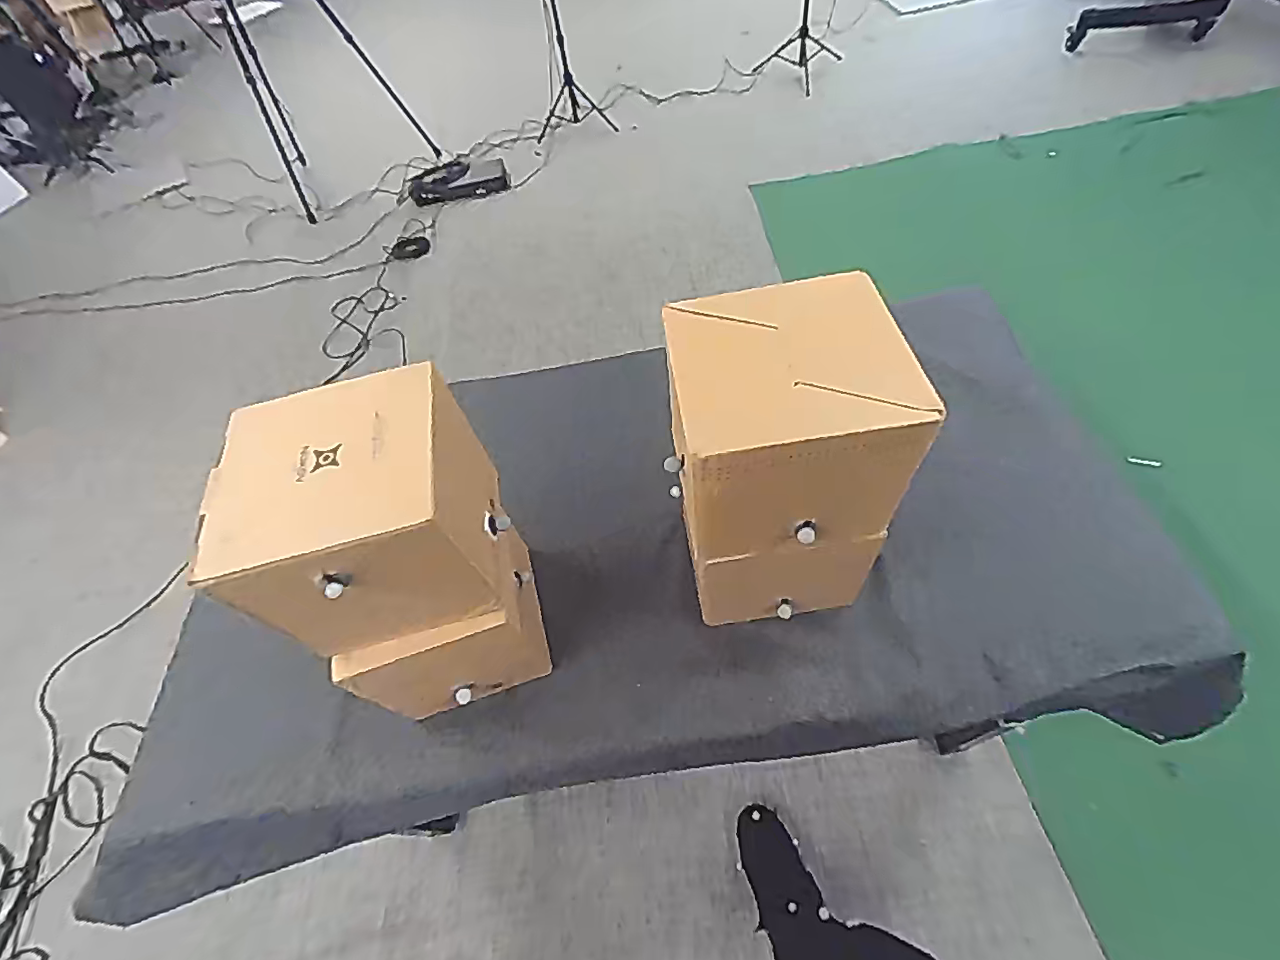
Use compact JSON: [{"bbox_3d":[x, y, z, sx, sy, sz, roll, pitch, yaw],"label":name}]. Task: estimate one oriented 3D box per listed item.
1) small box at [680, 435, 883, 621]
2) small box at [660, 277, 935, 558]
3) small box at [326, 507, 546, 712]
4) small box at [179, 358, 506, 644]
[{"bbox_3d":[0.139,0.045,0.606,0.179,0.176,0.168,-9,55,2],"label":"small box"},{"bbox_3d":[0.116,-0.052,0.470,0.179,0.176,0.168,-9,55,3],"label":"small box"},{"bbox_3d":[-0.215,0.131,0.598,0.168,0.176,0.179,-18,56,-4],"label":"small box"},{"bbox_3d":[-0.233,0.027,0.474,0.179,0.176,0.168,-14,56,-2],"label":"small box"}]
